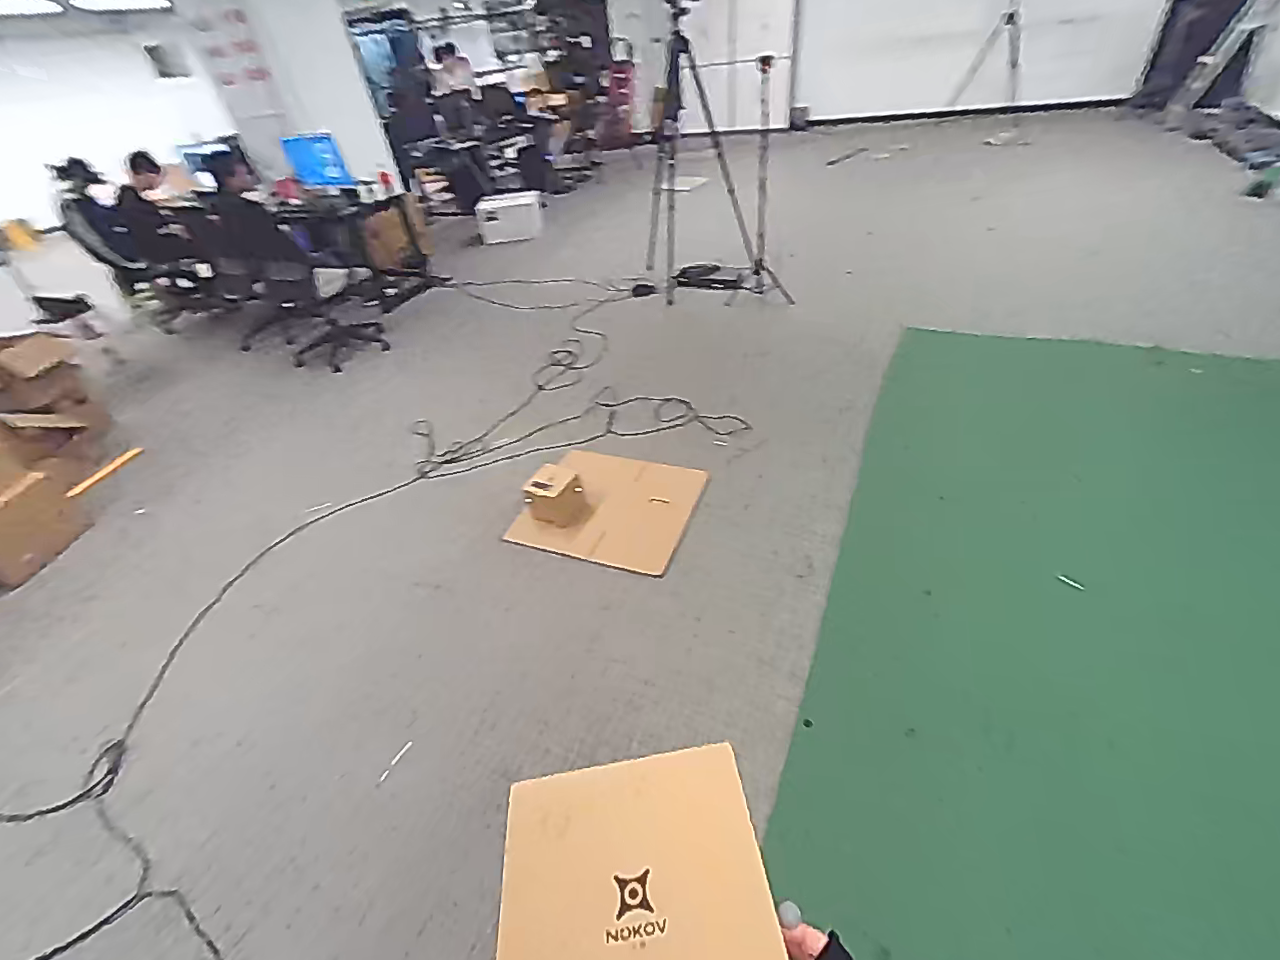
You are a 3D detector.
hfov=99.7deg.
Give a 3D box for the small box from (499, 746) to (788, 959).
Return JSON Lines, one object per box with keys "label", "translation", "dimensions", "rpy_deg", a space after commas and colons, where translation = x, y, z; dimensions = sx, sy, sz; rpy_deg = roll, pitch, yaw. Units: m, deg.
{"label": "small box", "translation": [0.006, 0.323, 0.370], "dimensions": [0.168, 0.176, 0.179], "rpy_deg": [-11, 34, -3]}
